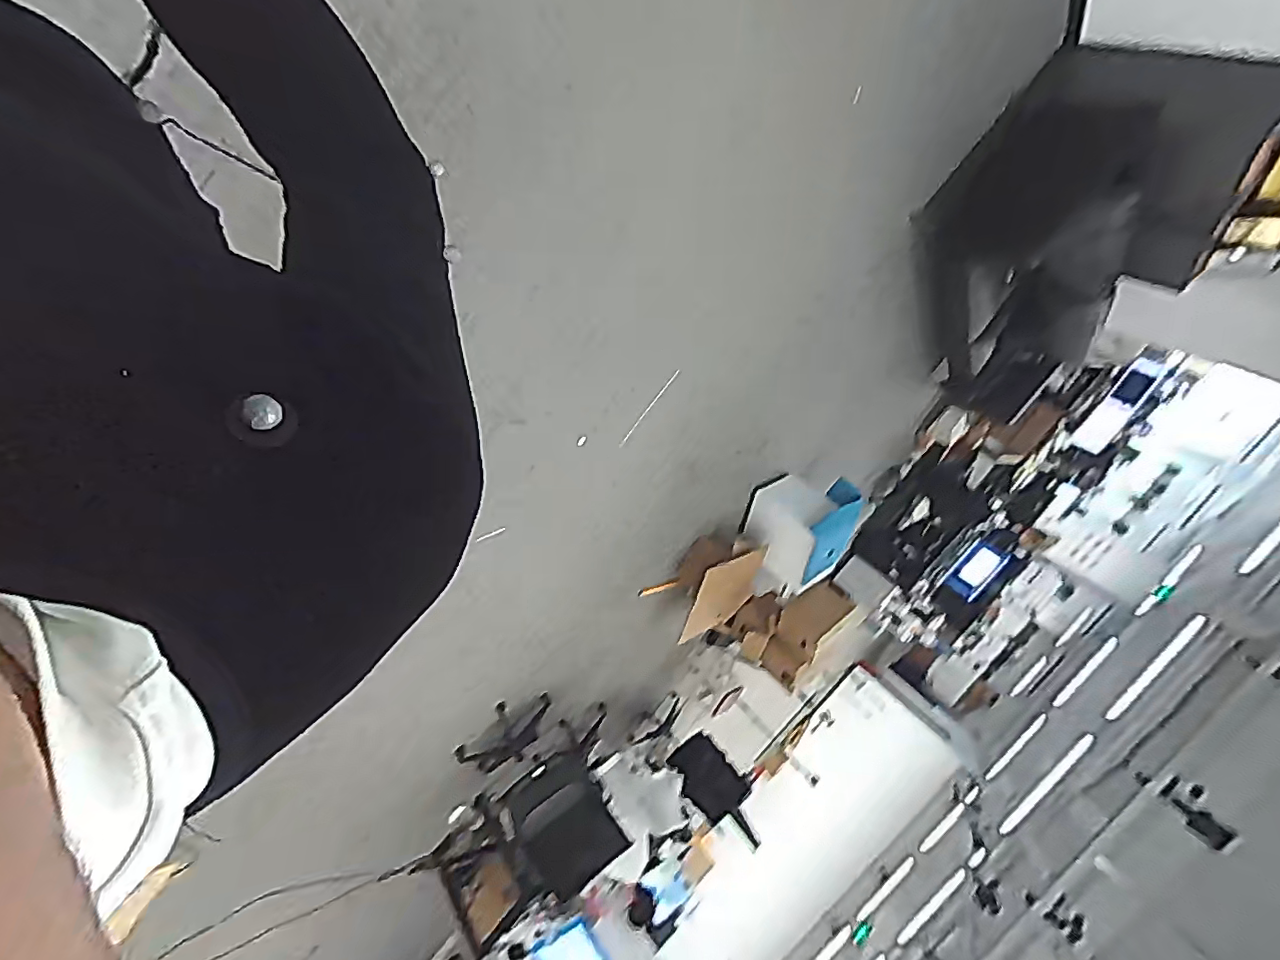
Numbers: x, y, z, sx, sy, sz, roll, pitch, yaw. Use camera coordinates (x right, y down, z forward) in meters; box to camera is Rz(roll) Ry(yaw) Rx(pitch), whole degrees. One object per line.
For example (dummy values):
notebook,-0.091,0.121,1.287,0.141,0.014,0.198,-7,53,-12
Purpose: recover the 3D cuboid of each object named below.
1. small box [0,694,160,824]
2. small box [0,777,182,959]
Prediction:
small box,-0.910,0.467,0.855,0.179,0.176,0.168,-52,146,5
small box,-0.802,0.551,0.765,0.179,0.176,0.168,-51,147,6
